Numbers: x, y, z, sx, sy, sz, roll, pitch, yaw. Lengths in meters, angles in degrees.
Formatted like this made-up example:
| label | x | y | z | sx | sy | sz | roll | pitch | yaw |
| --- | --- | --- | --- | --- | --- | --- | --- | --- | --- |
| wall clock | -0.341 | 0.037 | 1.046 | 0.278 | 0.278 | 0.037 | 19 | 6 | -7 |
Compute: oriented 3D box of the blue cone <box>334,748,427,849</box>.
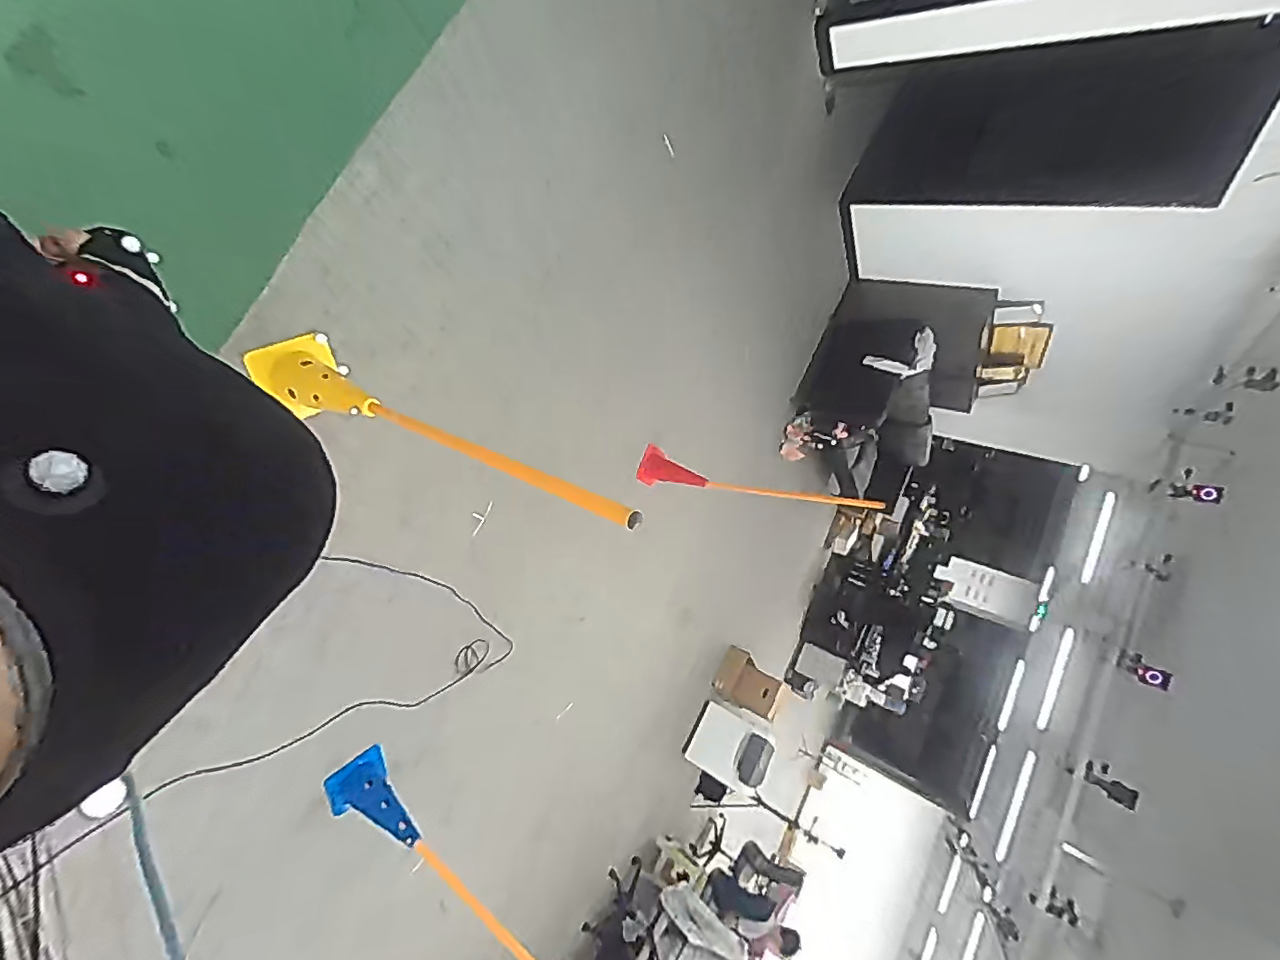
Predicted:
| label | x | y | z | sx | sy | sz | roll | pitch | yaw |
| --- | --- | --- | --- | --- | --- | --- | --- | --- | --- |
| blue cone | -0.852 | 1.118 | 1.851 | 0.192 | 0.380 | 0.193 | -32 | 134 | -46 |
